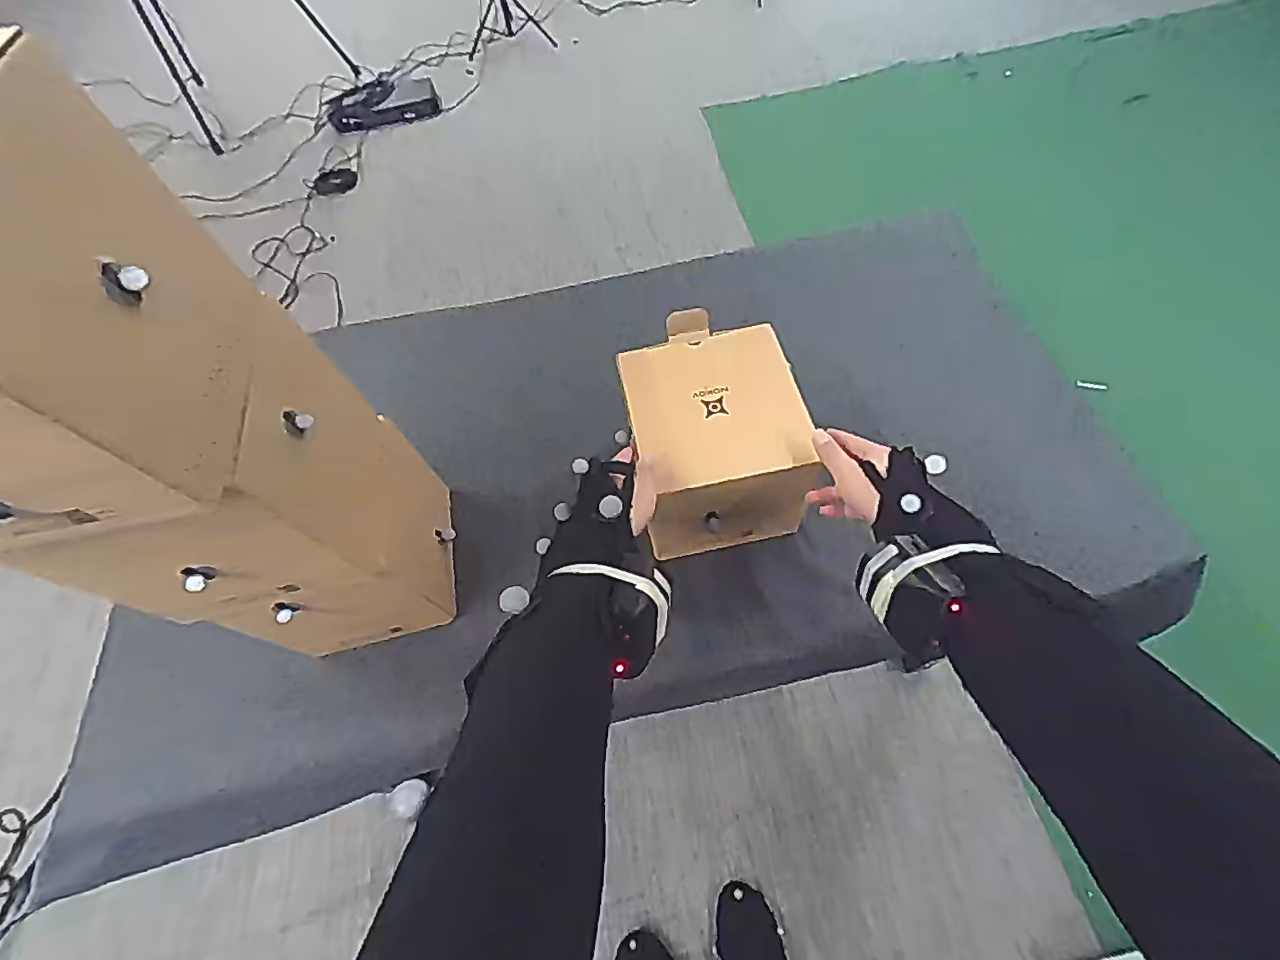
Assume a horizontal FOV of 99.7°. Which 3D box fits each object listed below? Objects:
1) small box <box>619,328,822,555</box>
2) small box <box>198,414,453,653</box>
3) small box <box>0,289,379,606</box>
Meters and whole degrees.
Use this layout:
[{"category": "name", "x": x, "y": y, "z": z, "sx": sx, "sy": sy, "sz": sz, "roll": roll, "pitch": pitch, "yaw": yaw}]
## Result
[{"category": "small box", "x": 0.079, "y": -0.030, "z": 0.589, "sx": 0.168, "sy": 0.176, "sz": 0.179, "roll": -11, "pitch": 60, "yaw": -1}, {"category": "small box", "x": -0.308, "y": 0.062, "z": 0.571, "sx": 0.168, "sy": 0.176, "sz": 0.179, "roll": -13, "pitch": 60, "yaw": -2}, {"category": "small box", "x": -0.326, "y": -0.013, "z": 0.424, "sx": 0.168, "sy": 0.176, "sz": 0.179, "roll": -12, "pitch": 60, "yaw": -3}]
